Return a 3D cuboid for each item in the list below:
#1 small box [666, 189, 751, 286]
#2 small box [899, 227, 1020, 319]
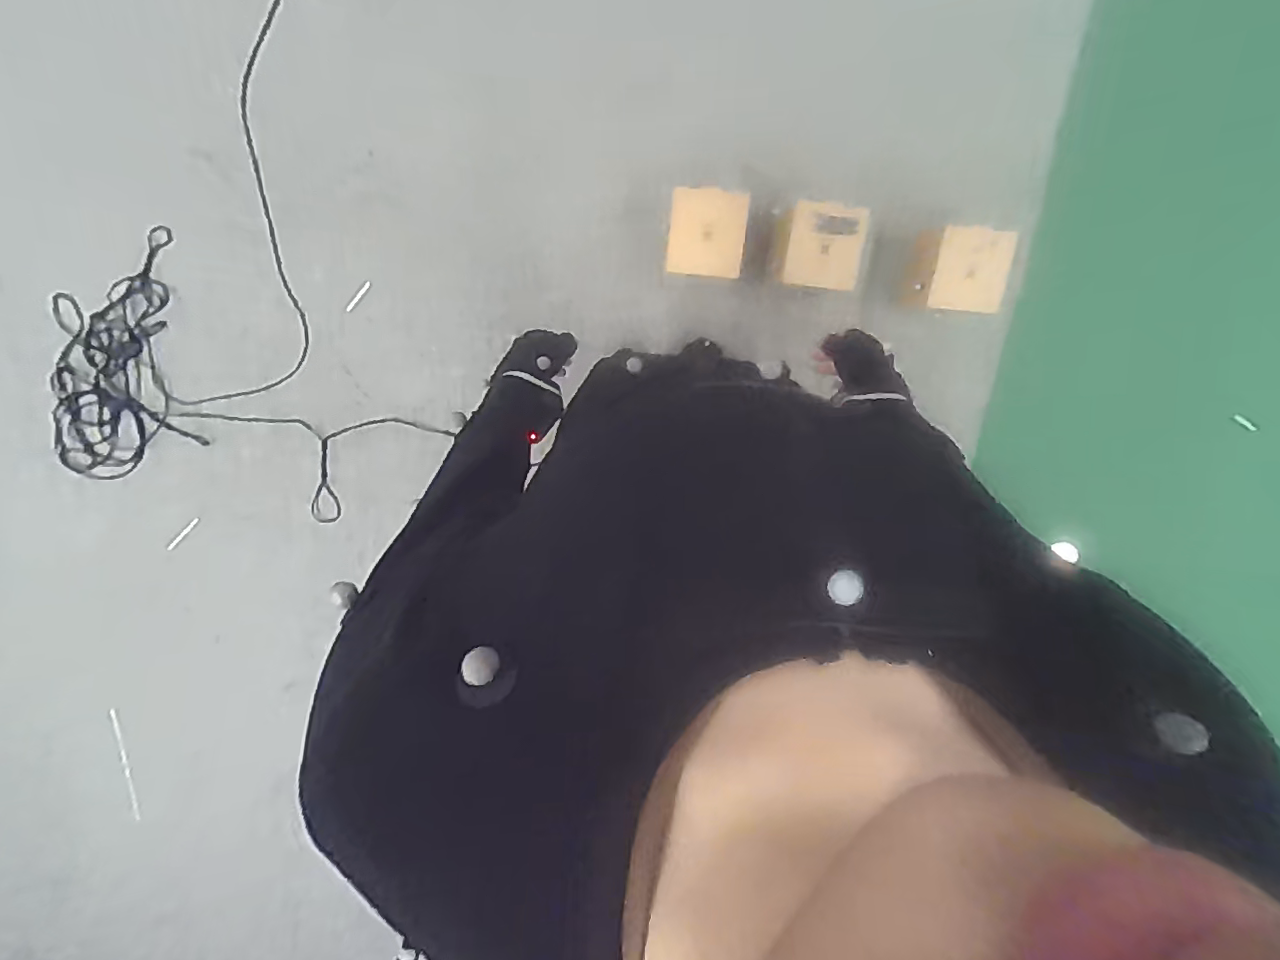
[{"bbox_3d":[0.151,-0.552,1.252,0.168,0.176,0.179,5,105,-1],"label":"small box"},{"bbox_3d":[0.736,-0.477,1.268,0.168,0.176,0.179,5,106,-2],"label":"small box"}]
